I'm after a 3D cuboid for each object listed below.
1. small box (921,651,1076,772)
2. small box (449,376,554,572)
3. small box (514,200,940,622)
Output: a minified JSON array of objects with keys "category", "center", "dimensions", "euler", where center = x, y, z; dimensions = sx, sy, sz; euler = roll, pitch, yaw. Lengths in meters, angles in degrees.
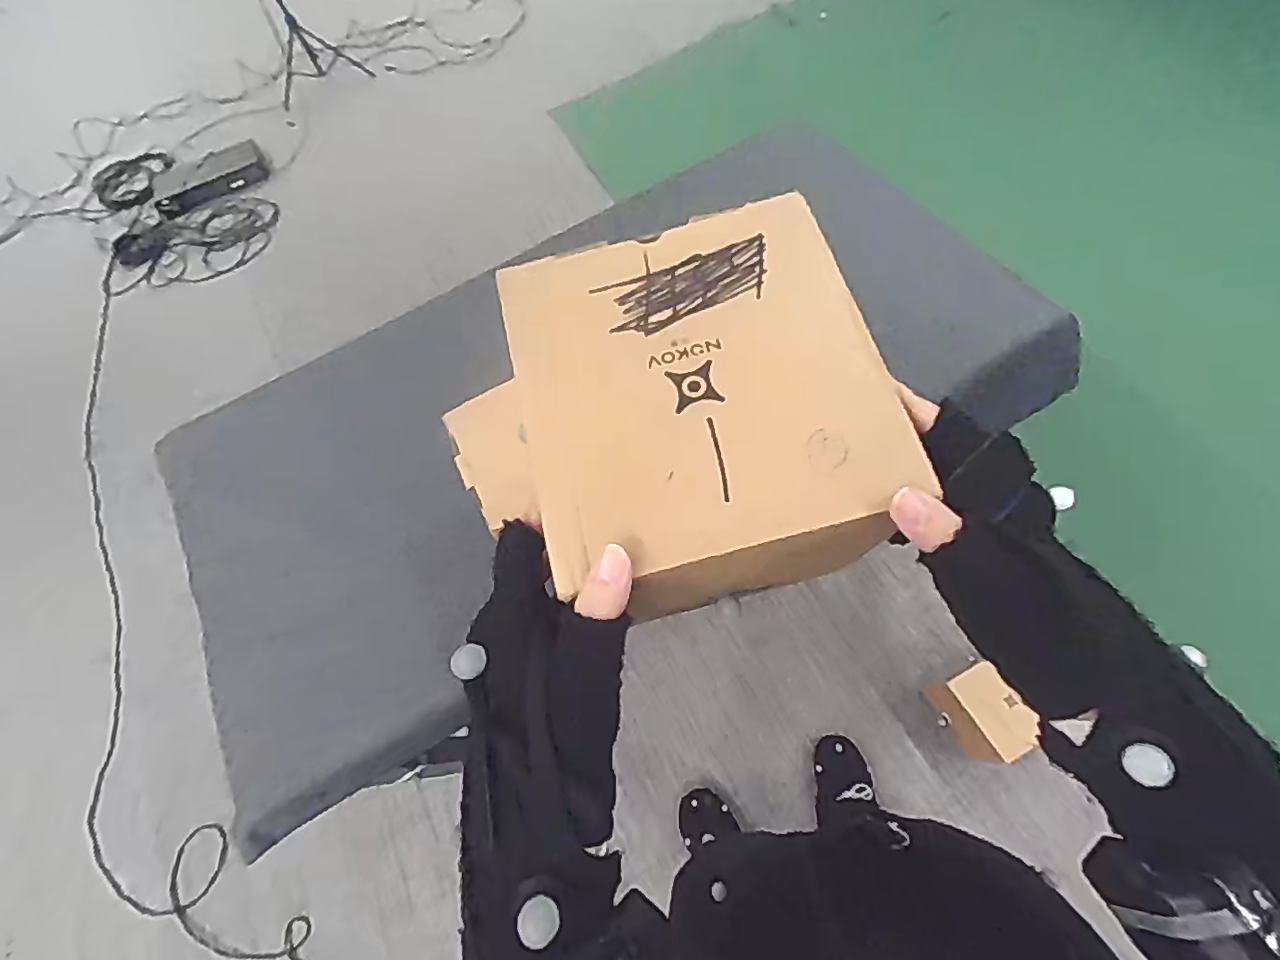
[{"category":"small box","center":[0.729,0.480,1.124],"dimensions":[0.179,0.176,0.168],"euler":[-28,63,-5]},{"category":"small box","center":[-0.095,-0.012,0.650],"dimensions":[0.179,0.176,0.168],"euler":[-27,63,-6]},{"category":"small box","center":[0.036,-0.023,0.328],"dimensions":[0.168,0.176,0.179],"euler":[-13,70,2]}]
